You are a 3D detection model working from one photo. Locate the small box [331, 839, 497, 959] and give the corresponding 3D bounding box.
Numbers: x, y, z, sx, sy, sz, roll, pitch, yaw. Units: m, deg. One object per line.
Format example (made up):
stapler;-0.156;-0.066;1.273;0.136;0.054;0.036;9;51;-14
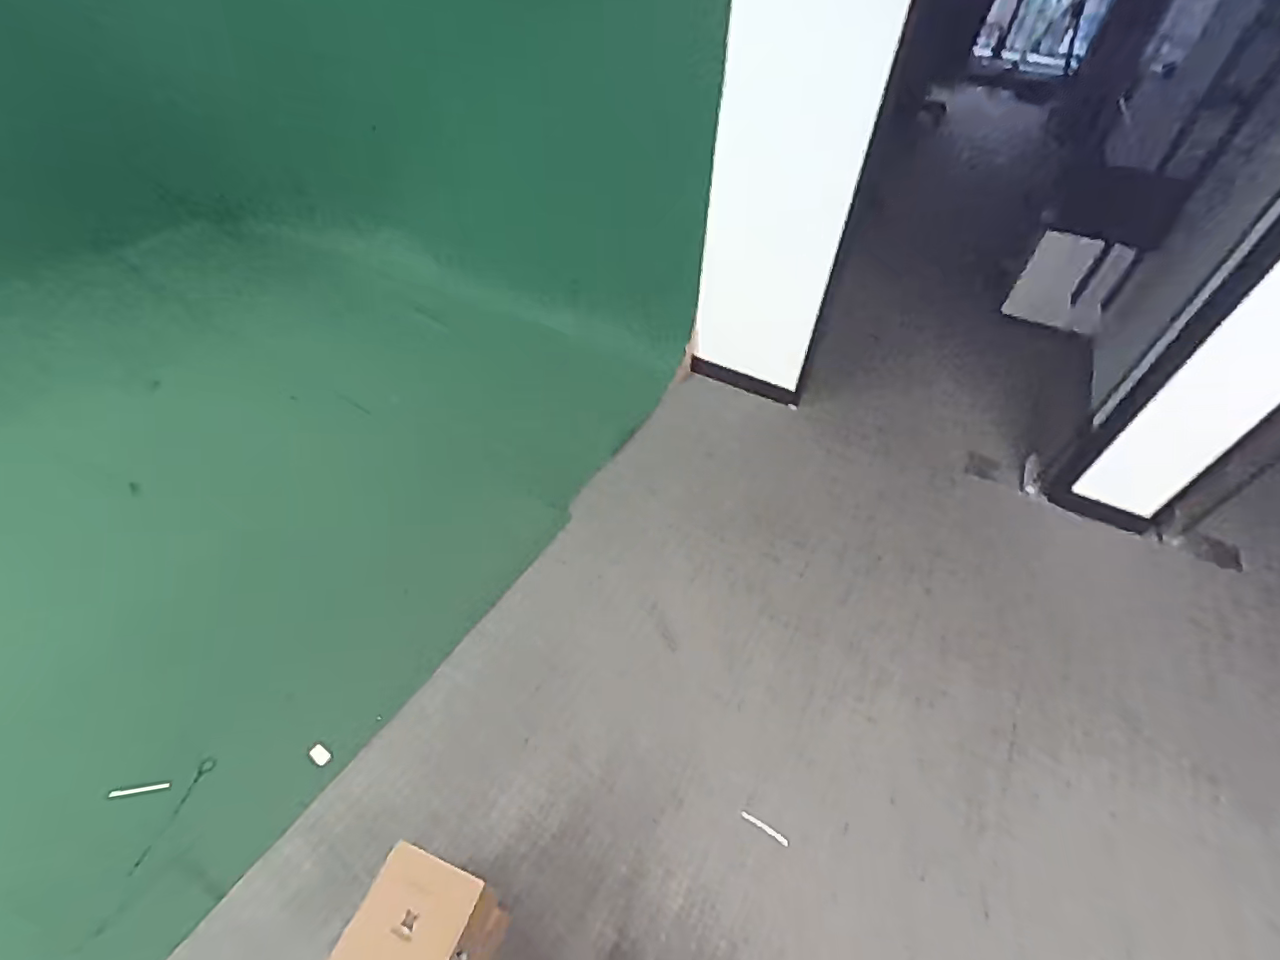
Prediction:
small box;-0.353;0.733;0.884;0.168;0.176;0.179;18;48;13
